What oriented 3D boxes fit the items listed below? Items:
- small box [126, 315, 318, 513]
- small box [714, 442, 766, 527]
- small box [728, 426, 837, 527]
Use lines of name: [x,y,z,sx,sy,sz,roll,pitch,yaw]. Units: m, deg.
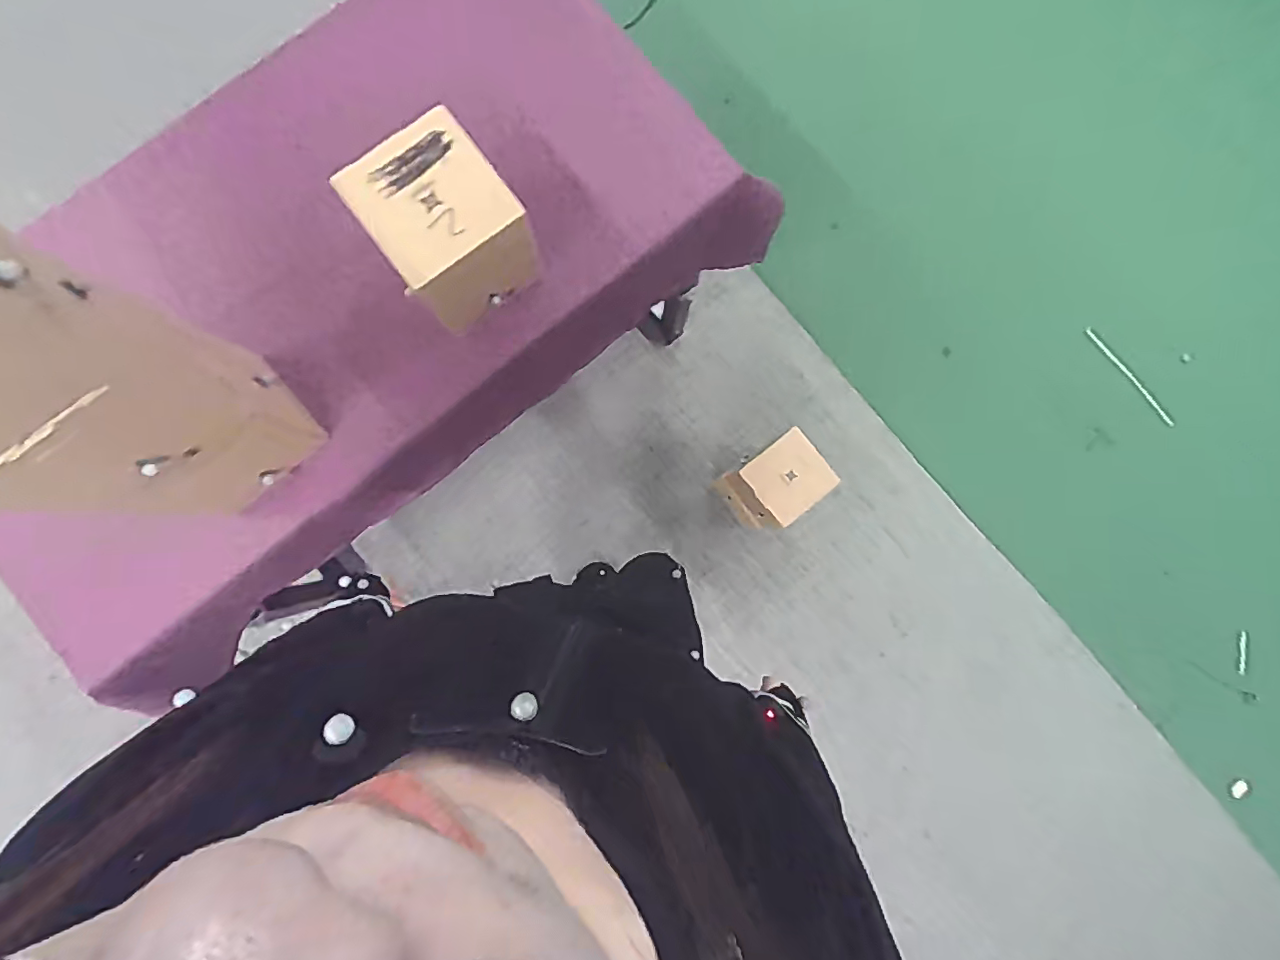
small box: [-0.560,-0.073,0.701,0.179,0.176,0.168,-41,87,-5]
small box: [0.315,0.014,1.458,0.179,0.176,0.168,-35,88,-5]
small box: [0.329,-0.002,1.297,0.179,0.176,0.168,-38,89,-5]
